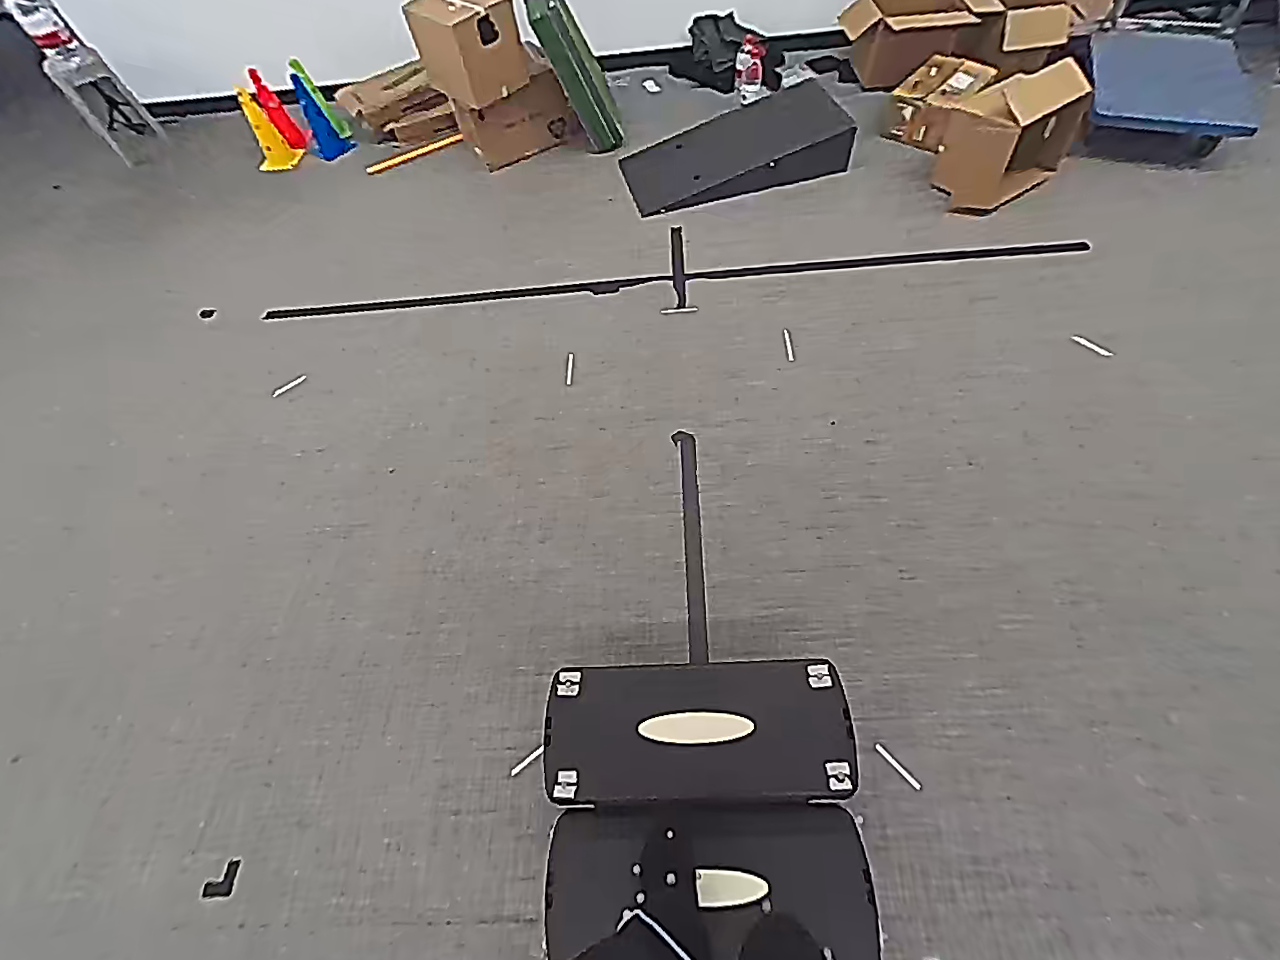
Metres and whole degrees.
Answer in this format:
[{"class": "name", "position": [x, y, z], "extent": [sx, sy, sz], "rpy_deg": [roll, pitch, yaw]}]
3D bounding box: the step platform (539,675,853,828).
[{"class": "step platform", "position": [0.116, 0.614, 1.232], "extent": [0.684, 0.204, 0.286], "rpy_deg": [-4, 59, 2]}]
